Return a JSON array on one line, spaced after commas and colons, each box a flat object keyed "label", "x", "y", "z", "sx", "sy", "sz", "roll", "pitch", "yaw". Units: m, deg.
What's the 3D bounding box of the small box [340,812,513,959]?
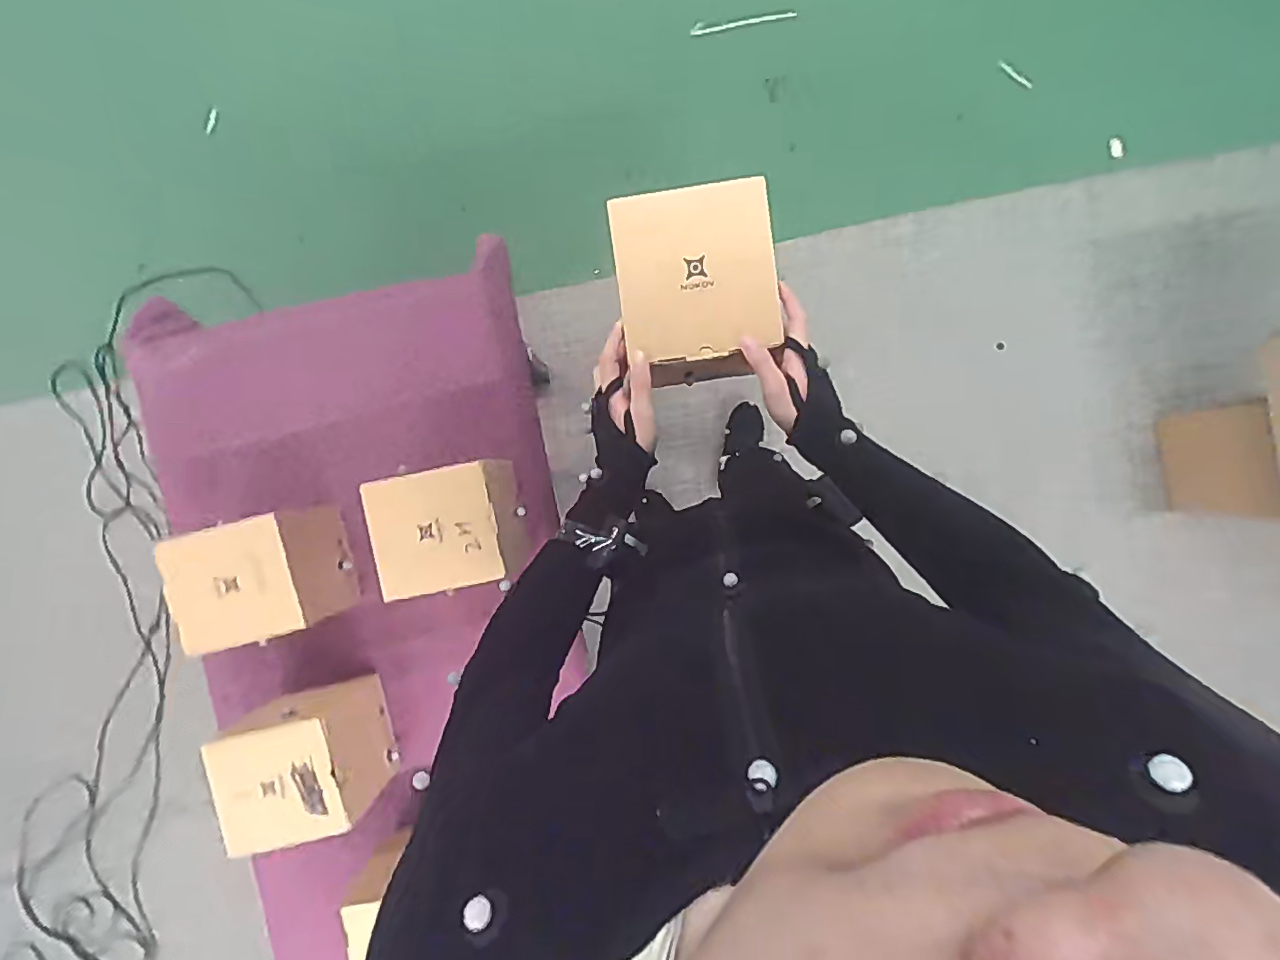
[{"label": "small box", "x": -0.310, "y": 0.644, "z": 0.818, "sx": 0.179, "sy": 0.176, "sz": 0.168, "roll": -12, "pitch": 92, "yaw": 0}]

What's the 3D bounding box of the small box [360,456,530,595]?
[{"label": "small box", "x": -0.280, "y": 0.063, "z": 0.811, "sx": 0.179, "sy": 0.176, "sz": 0.168, "roll": -11, "pitch": 91, "yaw": 1}]

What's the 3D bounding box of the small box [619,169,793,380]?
[{"label": "small box", "x": 0.068, "y": -0.224, "z": 0.632, "sx": 0.168, "sy": 0.176, "sz": 0.179, "roll": -7, "pitch": 93, "yaw": 2}]

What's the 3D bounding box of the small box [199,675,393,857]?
[{"label": "small box", "x": -0.499, "y": 0.416, "z": 0.817, "sx": 0.179, "sy": 0.176, "sz": 0.168, "roll": -14, "pitch": 91, "yaw": 1}]

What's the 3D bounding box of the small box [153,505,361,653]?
[{"label": "small box", "x": -0.561, "y": 0.139, "z": 0.815, "sx": 0.179, "sy": 0.176, "sz": 0.168, "roll": -14, "pitch": 92, "yaw": -1}]
